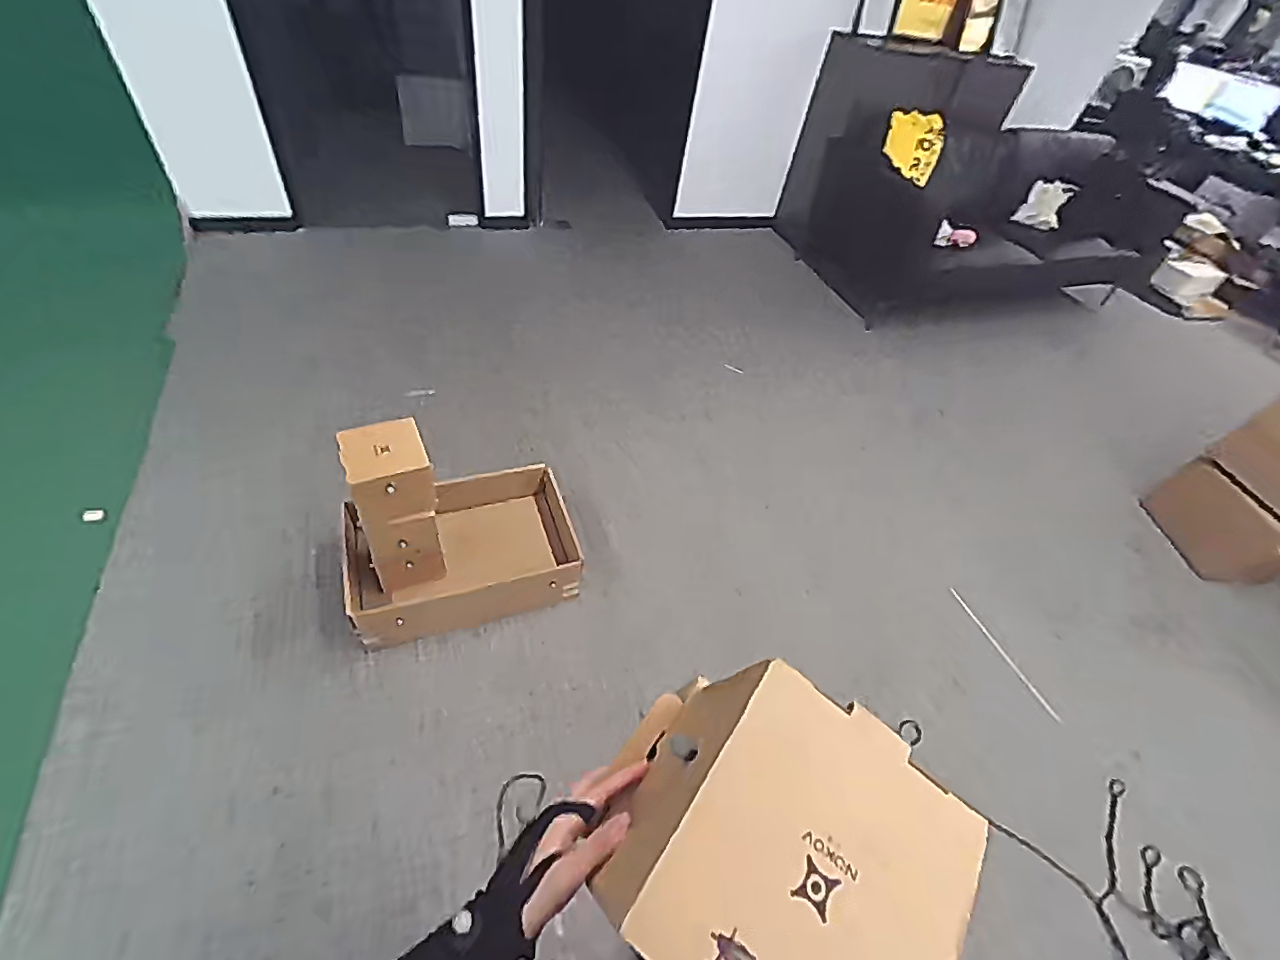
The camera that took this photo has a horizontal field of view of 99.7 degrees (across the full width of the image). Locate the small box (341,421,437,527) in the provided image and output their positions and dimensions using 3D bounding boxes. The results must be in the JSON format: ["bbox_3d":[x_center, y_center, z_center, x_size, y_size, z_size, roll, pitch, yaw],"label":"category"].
[{"bbox_3d":[-0.598,-0.013,1.306,0.179,0.176,0.168,-16,55,-24],"label":"small box"}]

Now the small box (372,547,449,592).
[{"bbox_3d":[-0.659,0.198,1.547,0.179,0.176,0.168,-13,53,-24],"label":"small box"}]

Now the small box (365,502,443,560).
[{"bbox_3d":[-0.621,0.095,1.425,0.168,0.176,0.179,-9,52,-21],"label":"small box"}]

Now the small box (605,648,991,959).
[{"bbox_3d":[0.093,0.252,0.378,0.168,0.176,0.179,37,60,8],"label":"small box"}]

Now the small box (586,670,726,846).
[{"bbox_3d":[0.066,0.320,0.527,0.179,0.176,0.168,39,60,10],"label":"small box"}]
